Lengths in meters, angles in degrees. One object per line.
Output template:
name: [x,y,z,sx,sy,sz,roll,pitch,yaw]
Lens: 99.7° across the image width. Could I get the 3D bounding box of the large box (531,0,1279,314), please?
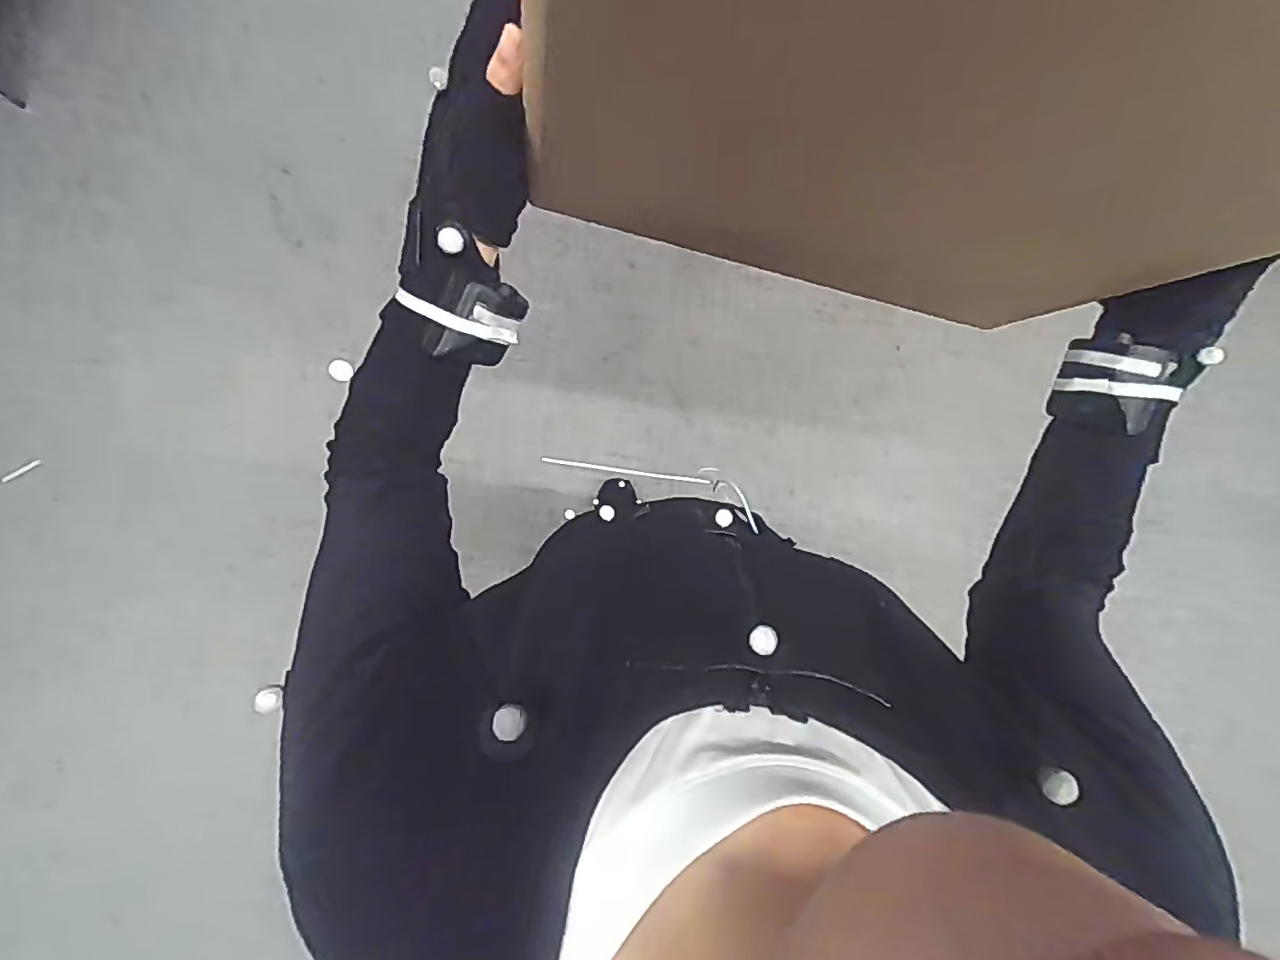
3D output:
large box: [0.166,-0.315,0.284,0.408,0.320,0.320,10,92,-13]
